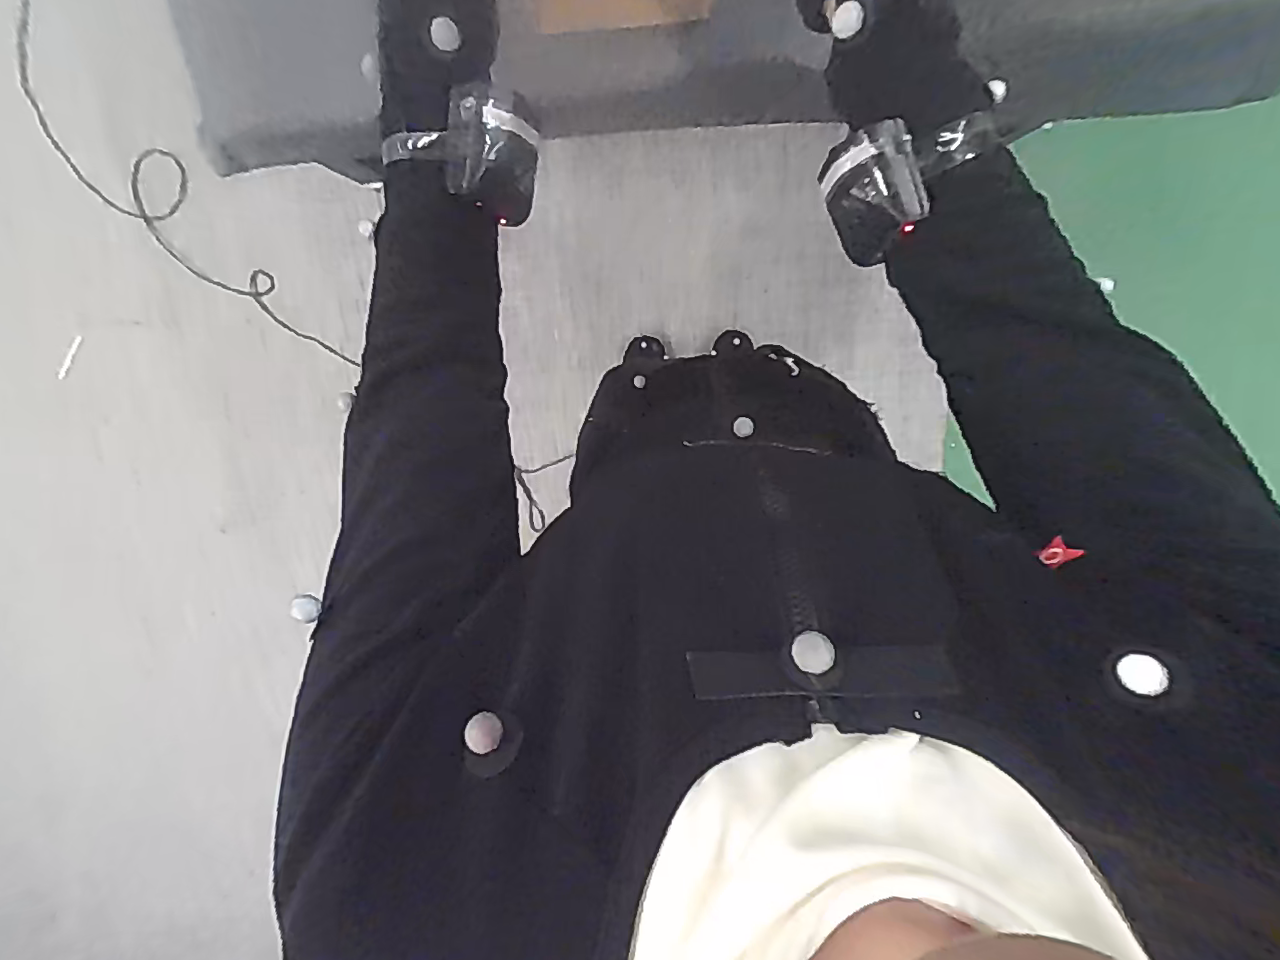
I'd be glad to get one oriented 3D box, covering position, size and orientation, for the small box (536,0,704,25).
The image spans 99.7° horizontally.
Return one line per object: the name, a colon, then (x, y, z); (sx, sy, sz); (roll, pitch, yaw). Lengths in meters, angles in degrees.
small box: (-0.024, -0.532, 0.463); (0.179, 0.176, 0.168); (-3, 104, 2)
